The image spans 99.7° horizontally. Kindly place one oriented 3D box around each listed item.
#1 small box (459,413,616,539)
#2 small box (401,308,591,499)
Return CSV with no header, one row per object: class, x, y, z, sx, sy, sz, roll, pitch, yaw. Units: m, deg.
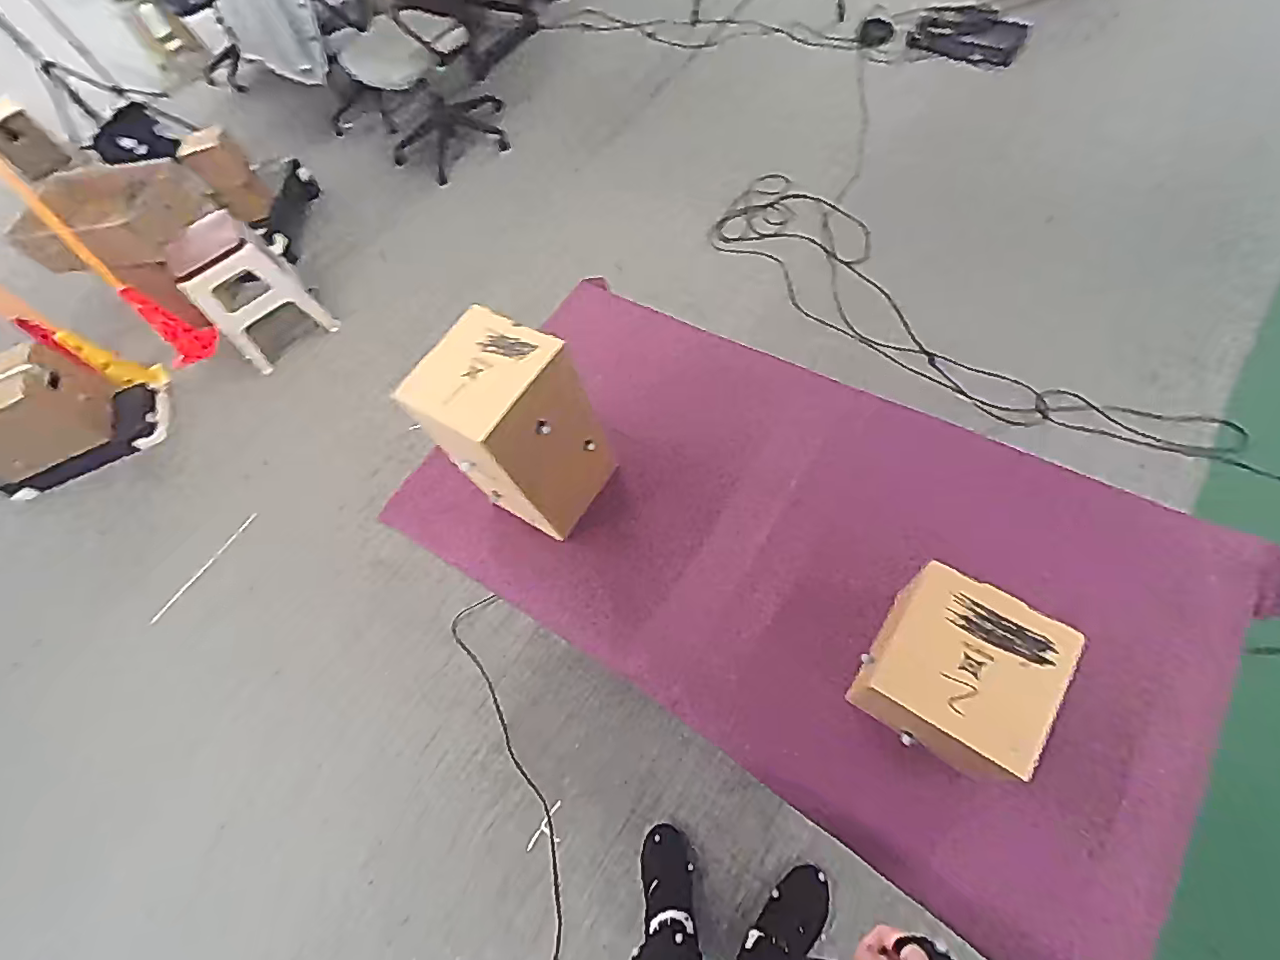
small box,-0.160,-0.027,0.912,0.168,0.176,0.179,27,70,23
small box,-0.188,-0.104,0.769,0.168,0.176,0.179,27,72,23
